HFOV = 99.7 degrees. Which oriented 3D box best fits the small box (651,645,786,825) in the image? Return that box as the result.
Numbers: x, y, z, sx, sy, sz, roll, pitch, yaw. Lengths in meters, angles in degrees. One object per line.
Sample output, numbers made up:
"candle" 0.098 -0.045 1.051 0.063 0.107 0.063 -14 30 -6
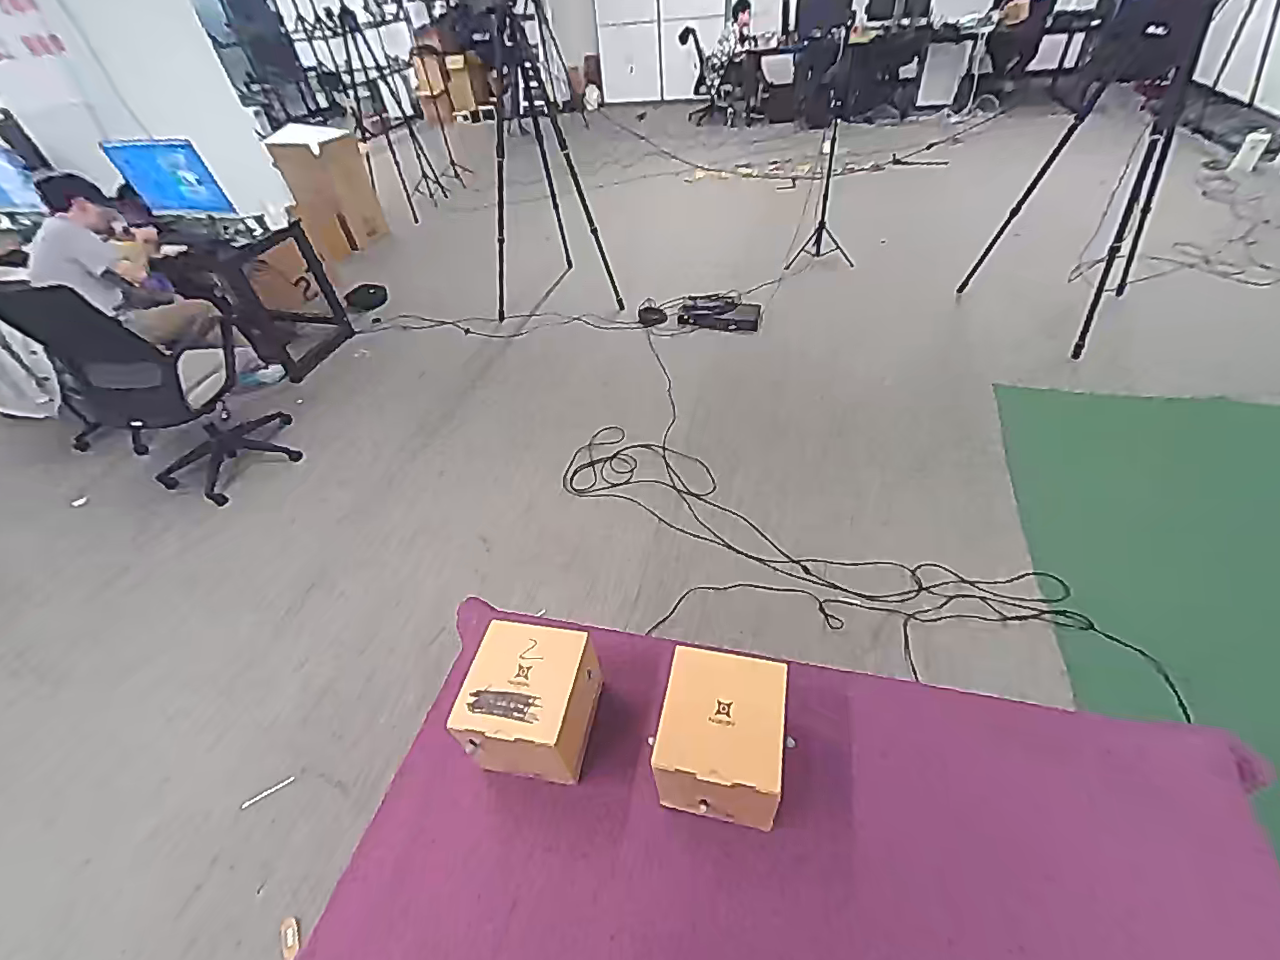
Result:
"small box" 0.119 0.375 0.800 0.168 0.176 0.179 5 47 14
